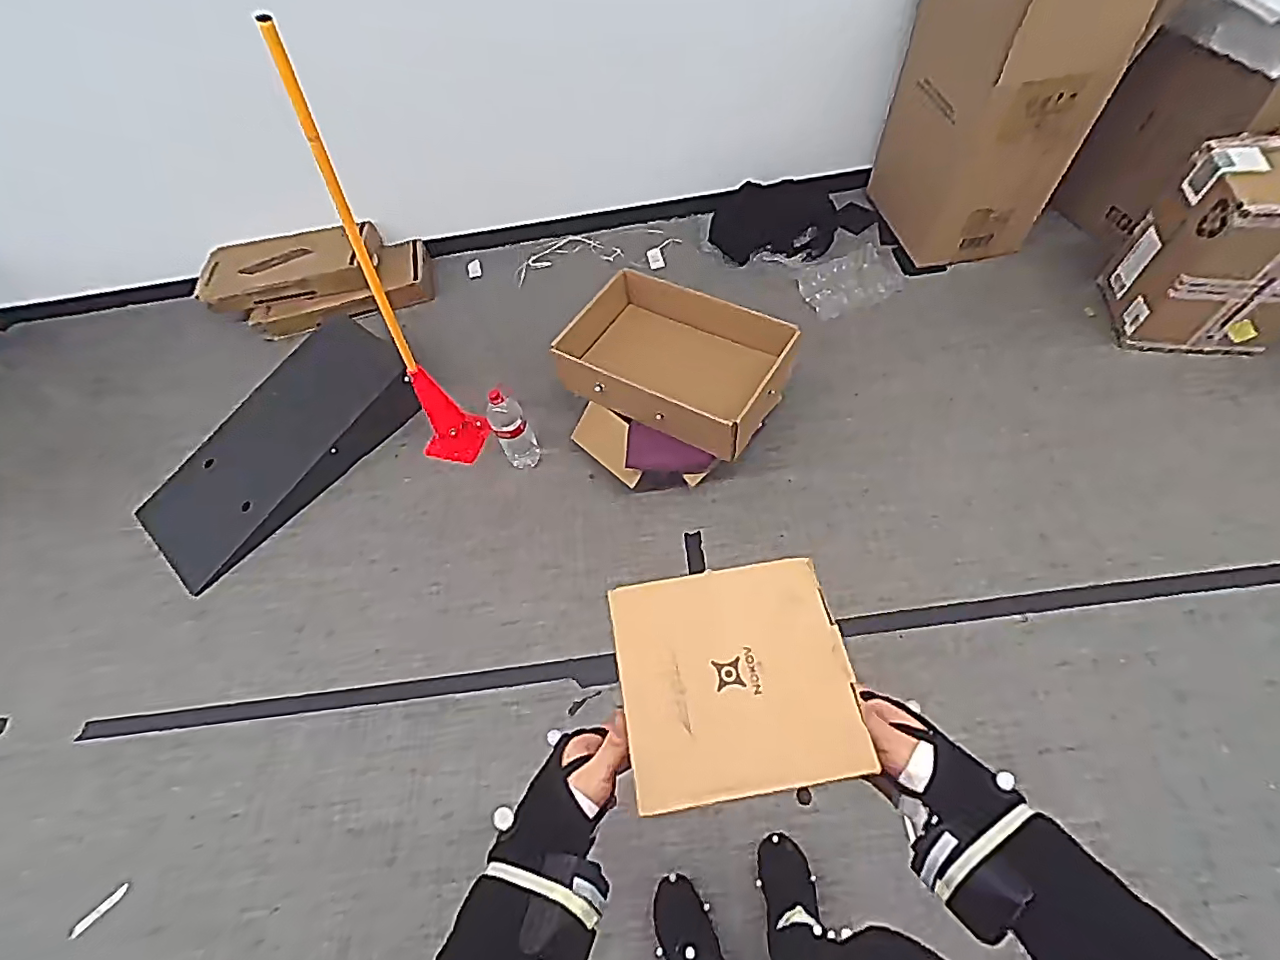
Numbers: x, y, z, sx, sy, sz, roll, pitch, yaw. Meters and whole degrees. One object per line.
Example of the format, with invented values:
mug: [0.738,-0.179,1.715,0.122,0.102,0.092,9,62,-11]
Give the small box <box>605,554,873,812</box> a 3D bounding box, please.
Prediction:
small box: [0.073,0.186,0.487,0.179,0.176,0.168,-11,59,-1]
